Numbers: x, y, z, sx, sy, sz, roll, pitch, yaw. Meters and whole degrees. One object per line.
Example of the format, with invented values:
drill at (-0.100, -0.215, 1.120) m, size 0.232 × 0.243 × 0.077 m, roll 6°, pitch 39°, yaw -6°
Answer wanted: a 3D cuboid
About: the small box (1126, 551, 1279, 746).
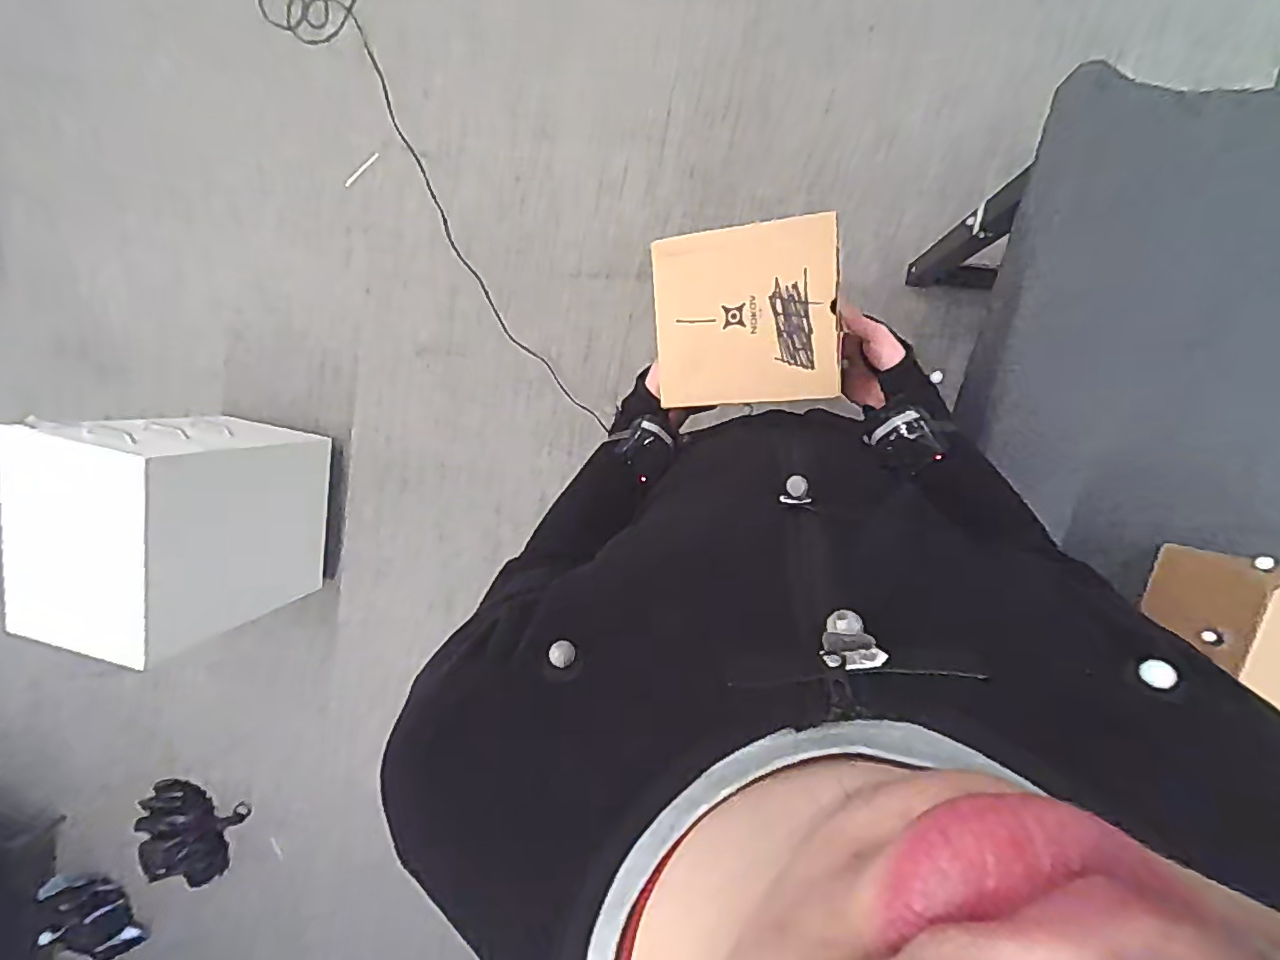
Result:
small box at (0.746, 0.199, 0.649) m, size 0.168 × 0.176 × 0.179 m, roll 12°, pitch 101°, yaw 10°
